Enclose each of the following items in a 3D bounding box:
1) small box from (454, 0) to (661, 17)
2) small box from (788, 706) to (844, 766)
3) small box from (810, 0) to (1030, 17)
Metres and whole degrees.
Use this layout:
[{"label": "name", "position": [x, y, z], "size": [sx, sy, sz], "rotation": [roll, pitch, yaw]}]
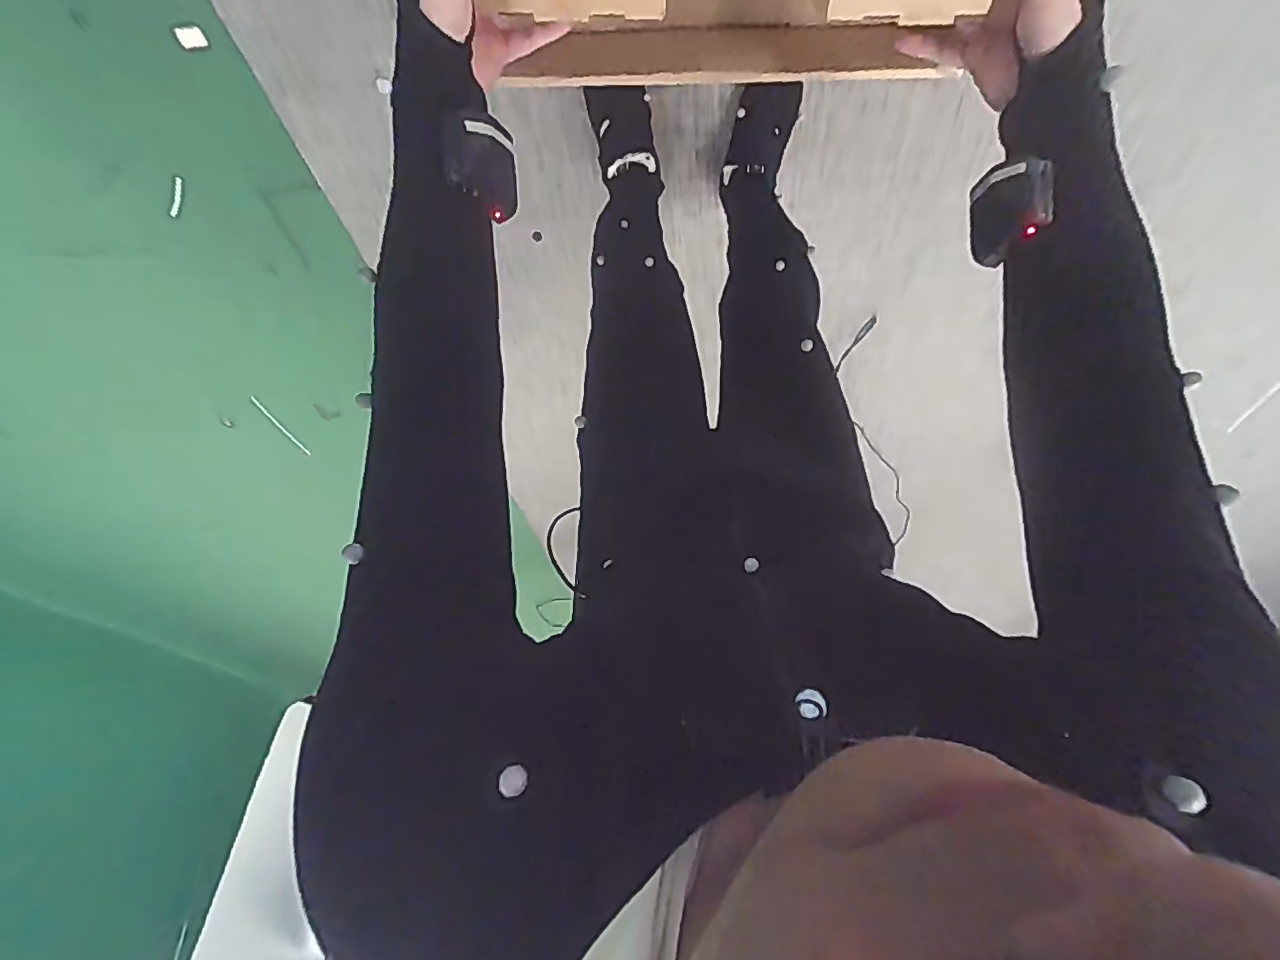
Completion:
[{"label": "small box", "position": [-0.064, -0.488, 0.411], "size": [0.168, 0.176, 0.179], "rotation": [1, 144, 1]}, {"label": "small box", "position": [0.628, 0.920, 1.941], "size": [0.168, 0.176, 0.179], "rotation": [-7, 144, 12]}, {"label": "small box", "position": [0.221, -0.480, 0.402], "size": [0.168, 0.176, 0.179], "rotation": [0, 143, 0]}]
